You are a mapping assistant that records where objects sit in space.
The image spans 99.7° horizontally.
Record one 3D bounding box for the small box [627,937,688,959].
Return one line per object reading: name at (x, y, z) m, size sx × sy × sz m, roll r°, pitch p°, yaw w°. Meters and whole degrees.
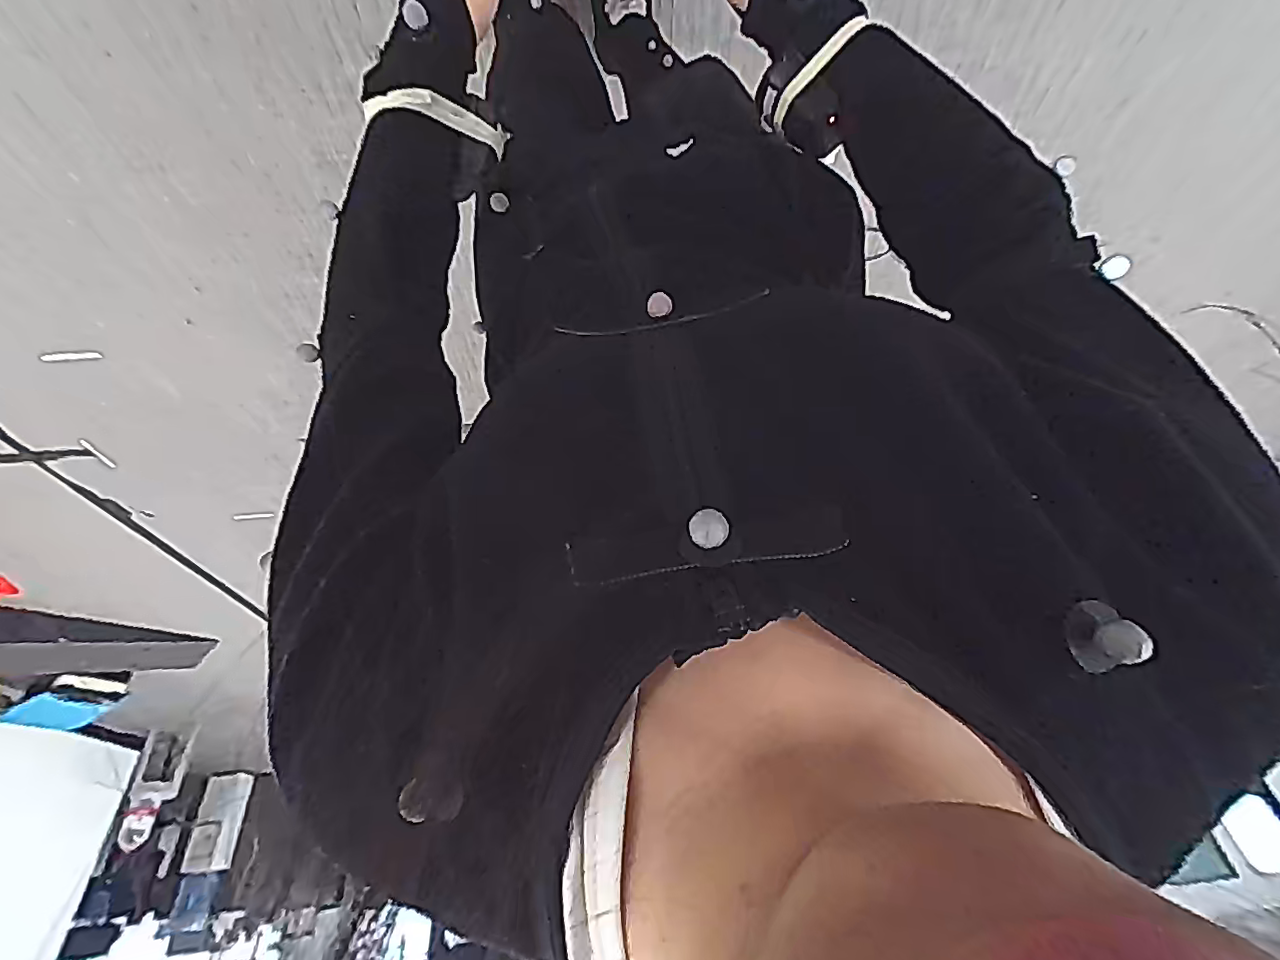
small box at (0.061, 1.476, 1.601) m, size 0.179 × 0.176 × 0.168 m, roll -6°, pitch 145°, yaw 0°
